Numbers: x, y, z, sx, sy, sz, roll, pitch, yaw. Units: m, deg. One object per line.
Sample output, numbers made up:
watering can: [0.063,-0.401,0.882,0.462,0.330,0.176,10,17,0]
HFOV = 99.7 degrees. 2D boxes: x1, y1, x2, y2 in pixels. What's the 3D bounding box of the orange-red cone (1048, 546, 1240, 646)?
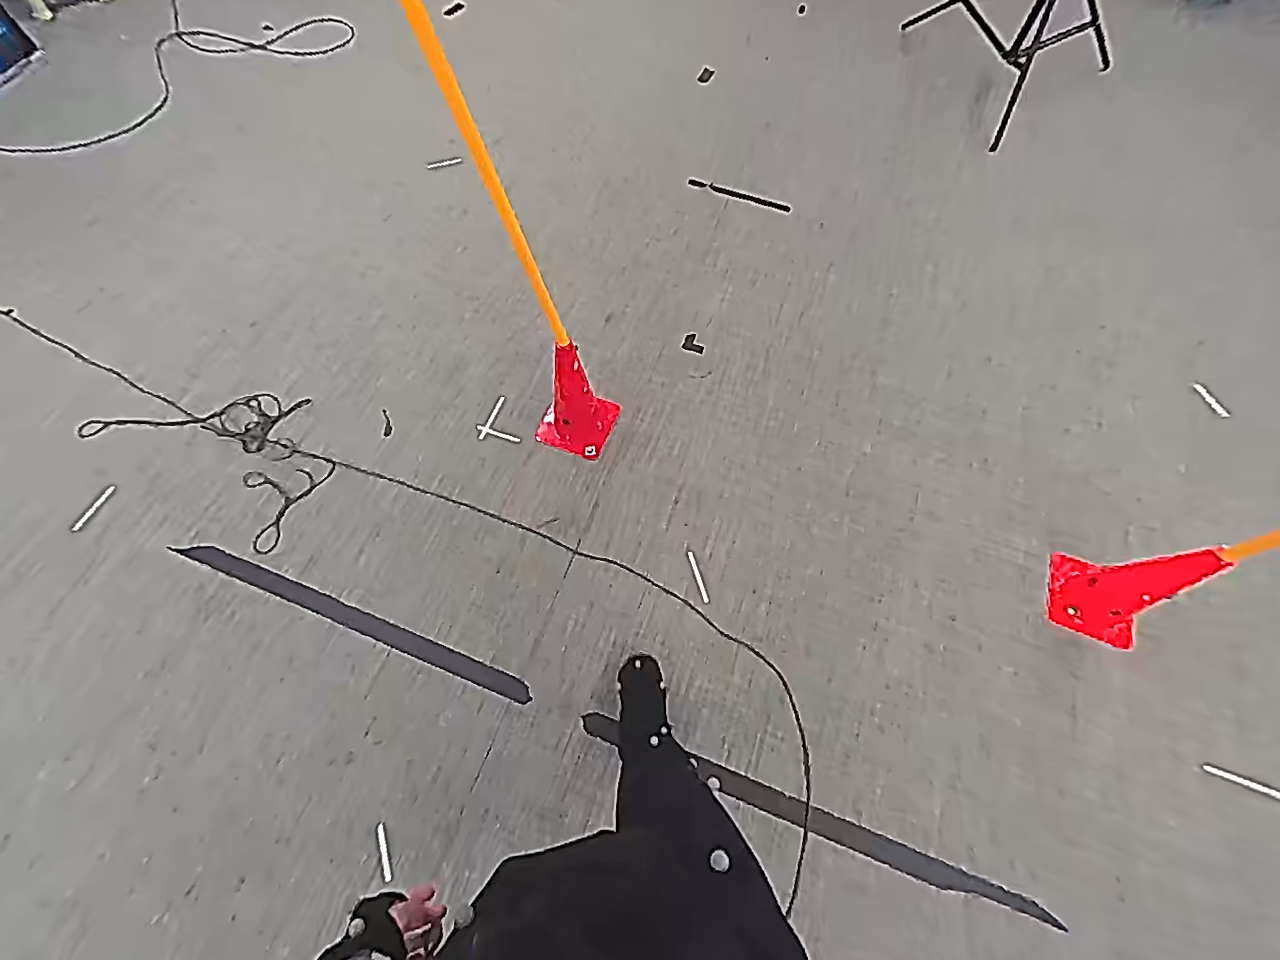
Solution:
orange-red cone: [1.132,0.217,1.194,0.199,0.360,0.198,22,66,9]
